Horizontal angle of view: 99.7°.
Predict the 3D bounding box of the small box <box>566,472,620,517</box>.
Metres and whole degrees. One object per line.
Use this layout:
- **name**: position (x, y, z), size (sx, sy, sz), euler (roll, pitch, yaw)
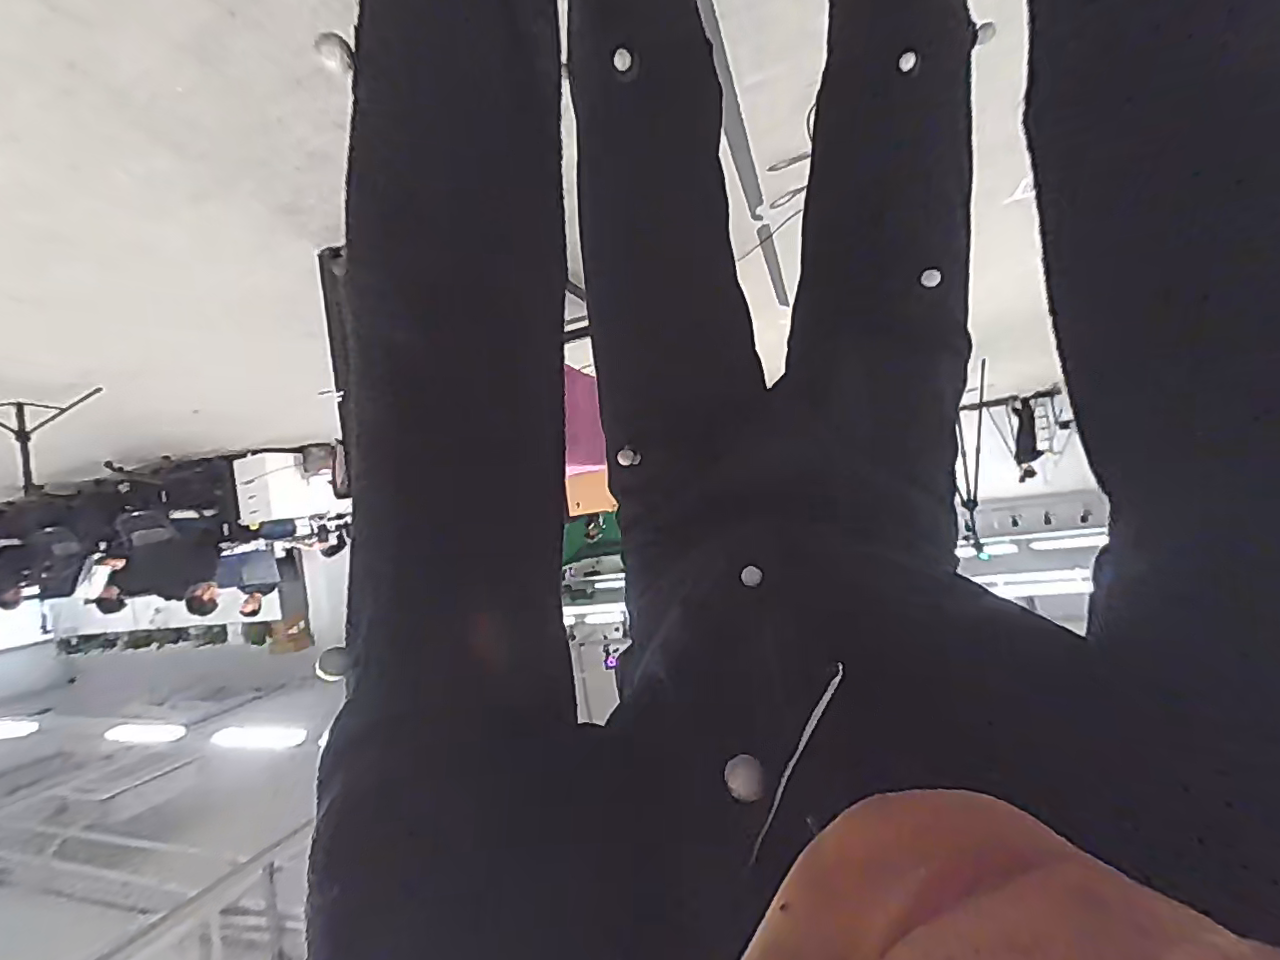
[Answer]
- **small box**: position (-0.204, 0.061, 2.306), size (0.179, 0.176, 0.168), euler (-10, 179, 24)
